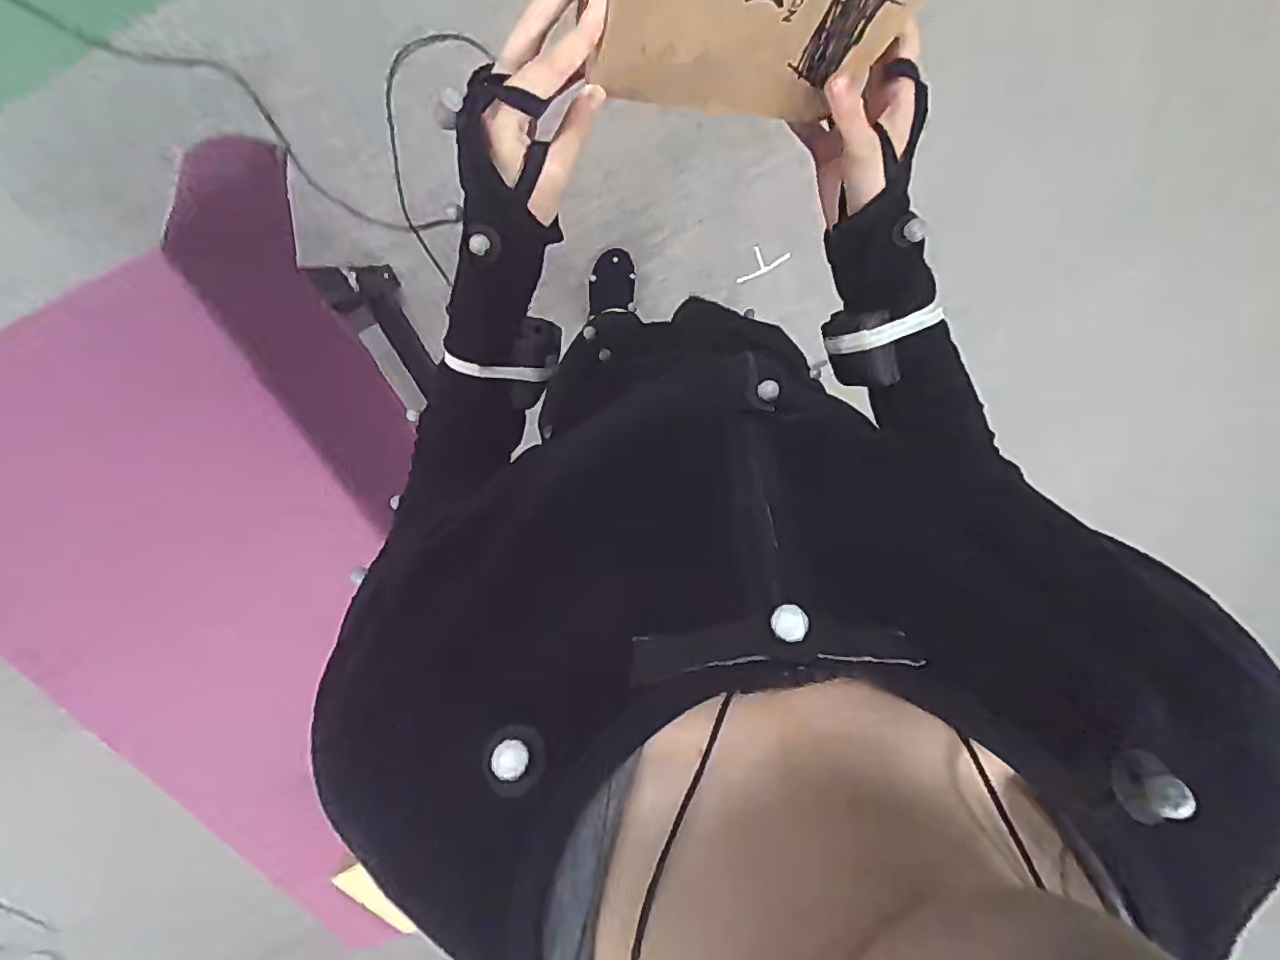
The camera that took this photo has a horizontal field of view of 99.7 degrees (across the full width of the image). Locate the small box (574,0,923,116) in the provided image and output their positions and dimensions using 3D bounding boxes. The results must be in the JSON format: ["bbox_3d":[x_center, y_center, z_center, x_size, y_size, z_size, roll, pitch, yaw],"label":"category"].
[{"bbox_3d":[0.064,-0.333,0.276,0.179,0.168,0.176,-5,86,-20],"label":"small box"}]
